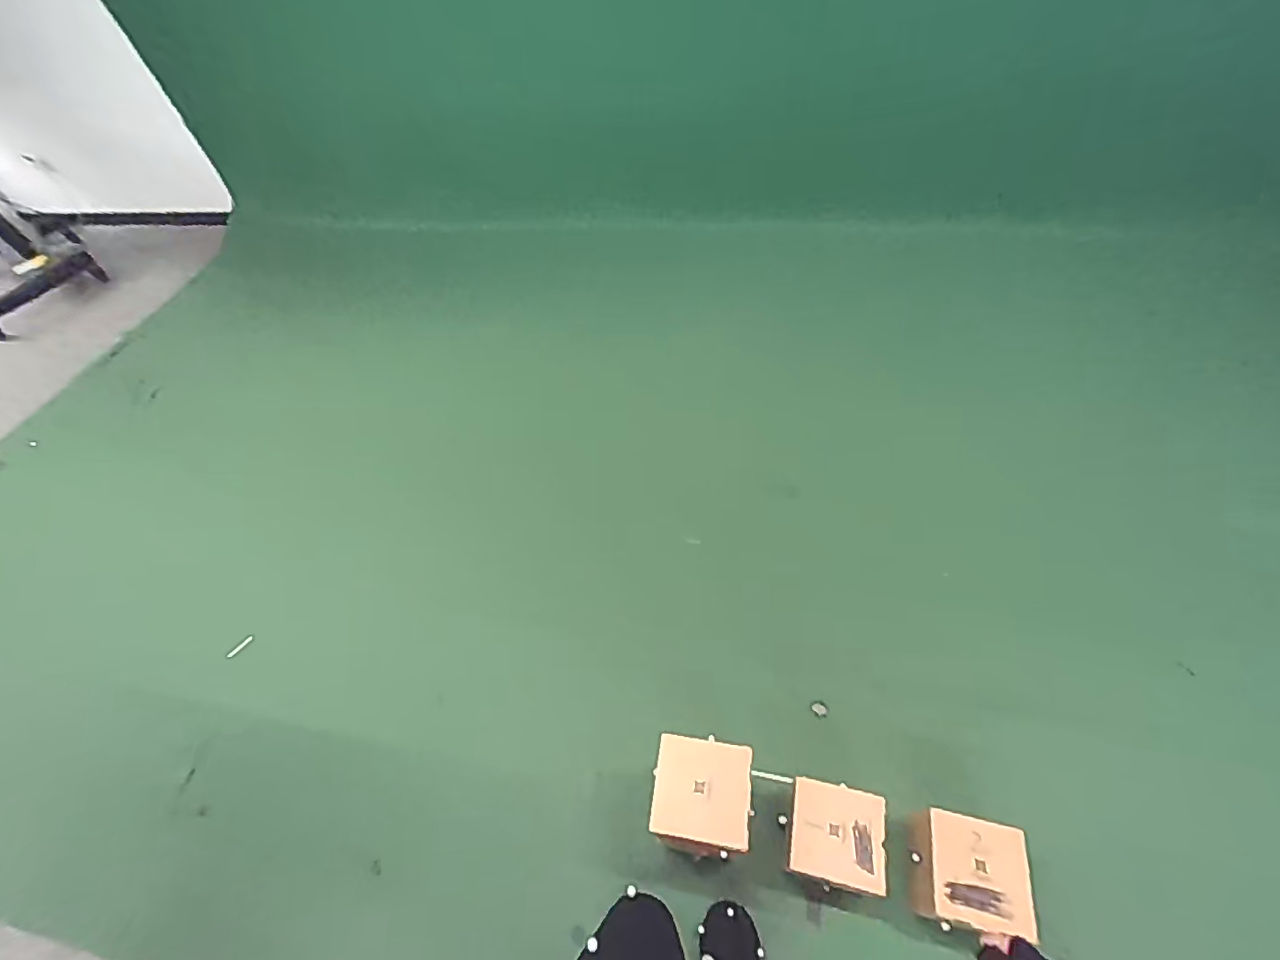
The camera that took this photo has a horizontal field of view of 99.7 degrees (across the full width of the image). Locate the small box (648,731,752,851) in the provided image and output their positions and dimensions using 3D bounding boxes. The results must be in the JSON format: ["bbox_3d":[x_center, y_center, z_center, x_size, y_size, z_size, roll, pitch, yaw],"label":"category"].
[{"bbox_3d":[0.121,0.605,1.048,0.179,0.176,0.168,4,54,11],"label":"small box"}]

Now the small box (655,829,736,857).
[{"bbox_3d":[0.135,0.701,1.179,0.168,0.176,0.179,6,56,12],"label":"small box"}]
